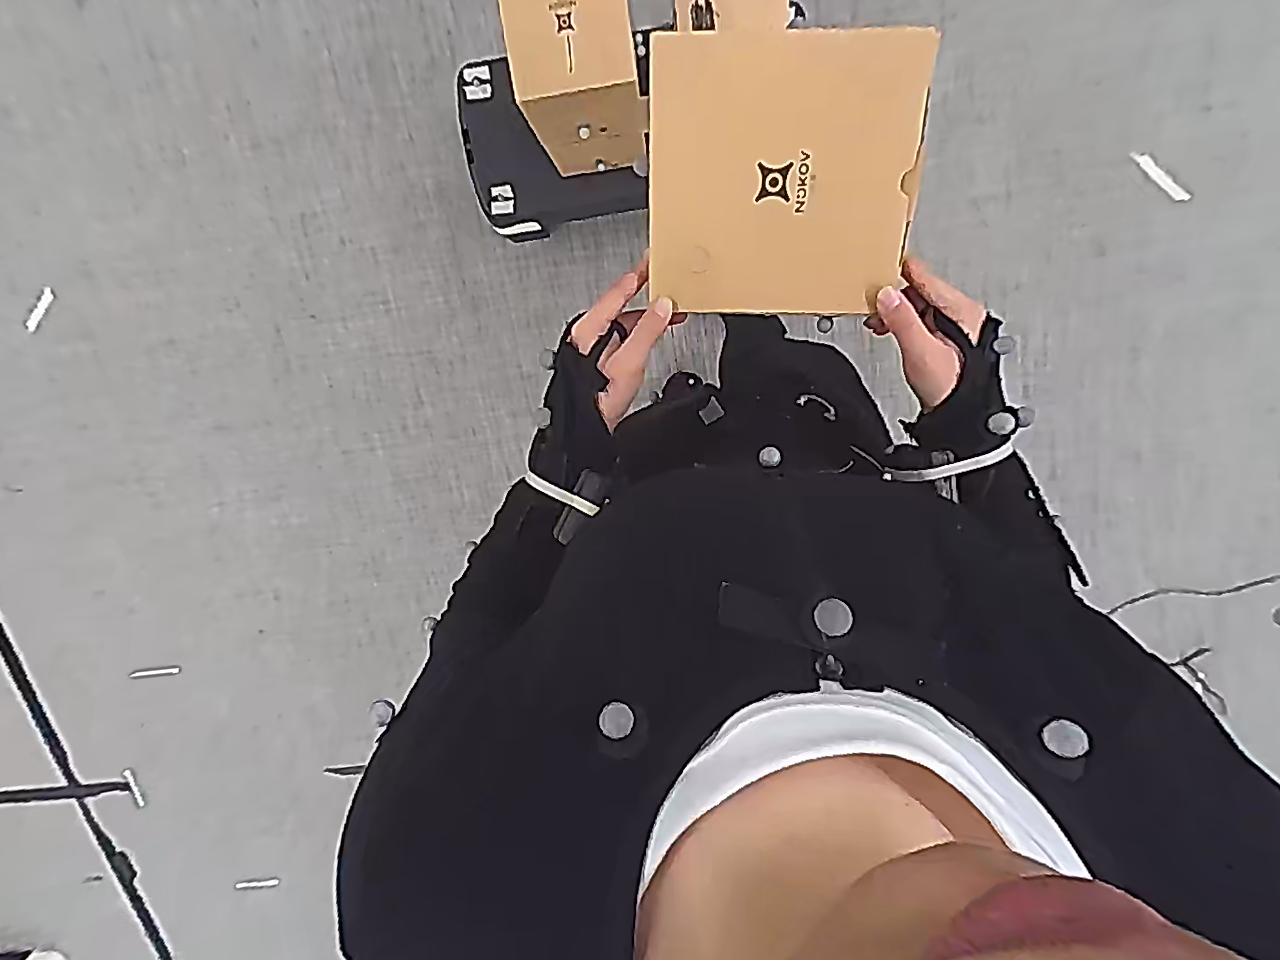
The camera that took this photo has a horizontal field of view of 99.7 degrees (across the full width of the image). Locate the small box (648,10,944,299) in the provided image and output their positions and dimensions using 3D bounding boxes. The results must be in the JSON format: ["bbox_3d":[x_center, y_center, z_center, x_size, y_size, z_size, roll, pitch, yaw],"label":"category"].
[{"bbox_3d":[0.098,-0.232,0.427,0.179,0.176,0.168,1,111,2],"label":"small box"}]

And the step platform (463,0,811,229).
[{"bbox_3d":[0.004,-0.724,1.087,0.684,0.204,0.286,-8,104,5],"label":"step platform"}]

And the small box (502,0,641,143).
[{"bbox_3d":[-0.091,-0.614,0.770,0.168,0.176,0.179,-7,105,4],"label":"small box"}]

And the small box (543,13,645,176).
[{"bbox_3d":[-0.082,-0.652,0.930,0.168,0.176,0.179,-6,104,4],"label":"small box"}]
